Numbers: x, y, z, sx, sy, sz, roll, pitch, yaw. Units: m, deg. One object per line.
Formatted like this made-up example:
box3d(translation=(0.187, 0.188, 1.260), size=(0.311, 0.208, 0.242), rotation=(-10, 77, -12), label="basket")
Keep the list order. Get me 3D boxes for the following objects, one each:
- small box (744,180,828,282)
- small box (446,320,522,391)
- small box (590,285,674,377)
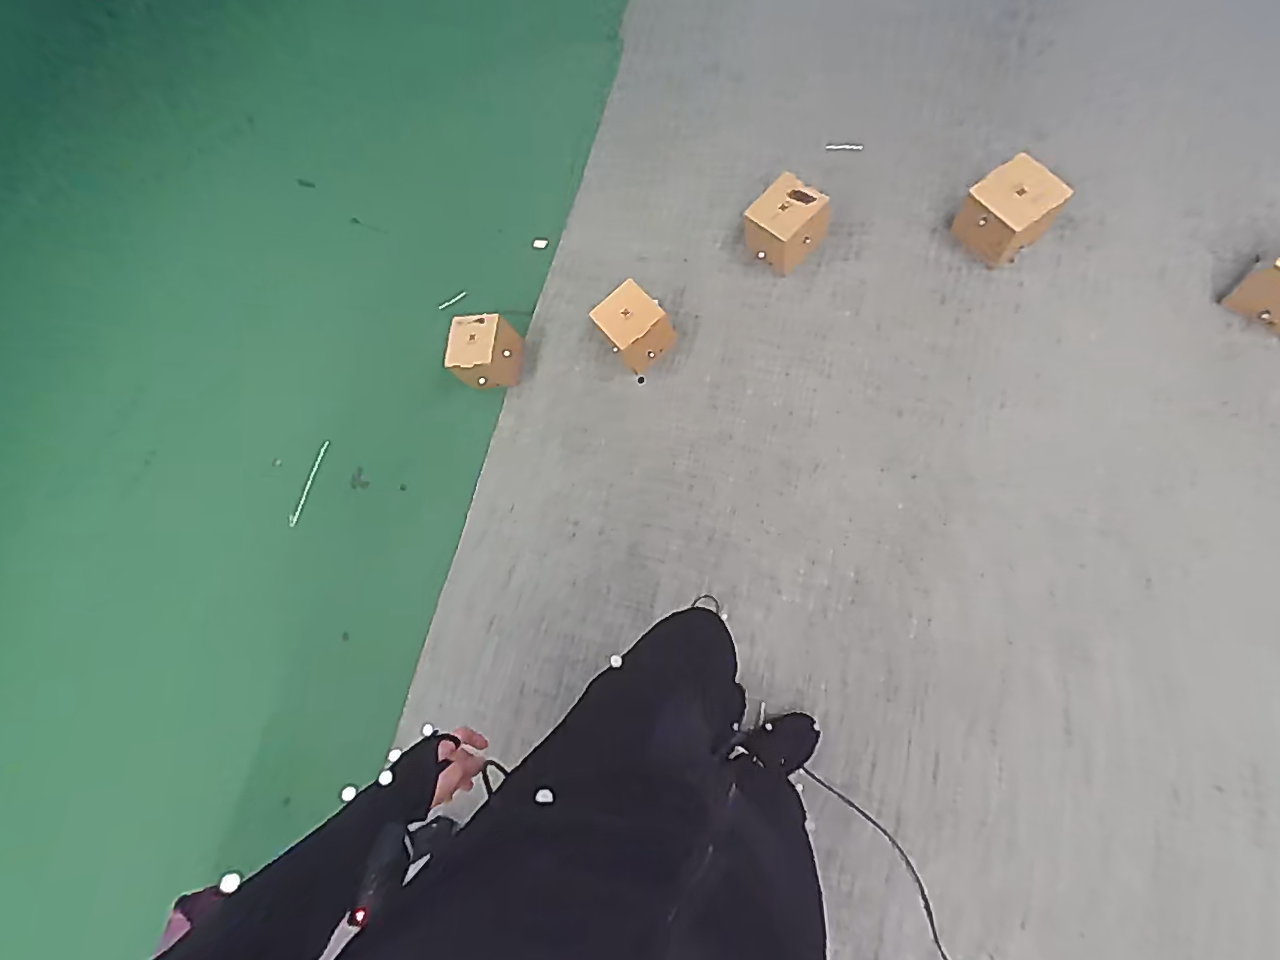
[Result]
box3d(translation=(0.427, -0.731, 1.598), size=(0.179, 0.176, 0.168), rotation=(-44, 68, 0), label="small box")
box3d(translation=(-0.500, -0.397, 1.755), size=(0.168, 0.176, 0.179), rotation=(1, 75, 15), label="small box")
box3d(translation=(-0.020, -0.445, 1.640), size=(0.168, 0.176, 0.179), rotation=(-41, 70, 1), label="small box")
